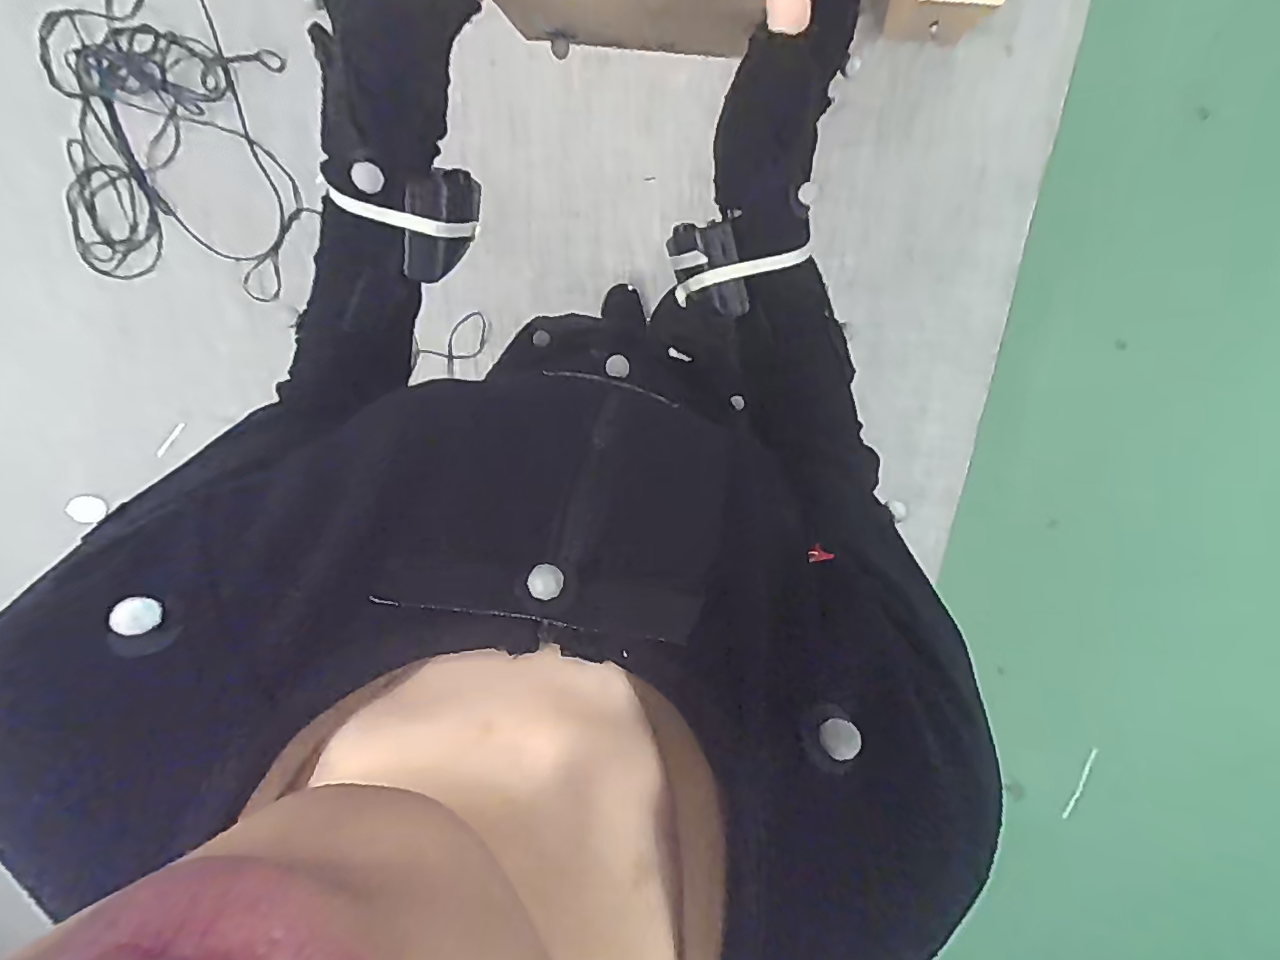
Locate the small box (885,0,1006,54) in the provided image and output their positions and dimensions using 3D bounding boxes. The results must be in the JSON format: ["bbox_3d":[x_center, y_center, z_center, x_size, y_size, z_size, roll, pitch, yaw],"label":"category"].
[{"bbox_3d":[0.604,-0.972,1.060,0.168,0.176,0.179,4,109,0],"label":"small box"}]
